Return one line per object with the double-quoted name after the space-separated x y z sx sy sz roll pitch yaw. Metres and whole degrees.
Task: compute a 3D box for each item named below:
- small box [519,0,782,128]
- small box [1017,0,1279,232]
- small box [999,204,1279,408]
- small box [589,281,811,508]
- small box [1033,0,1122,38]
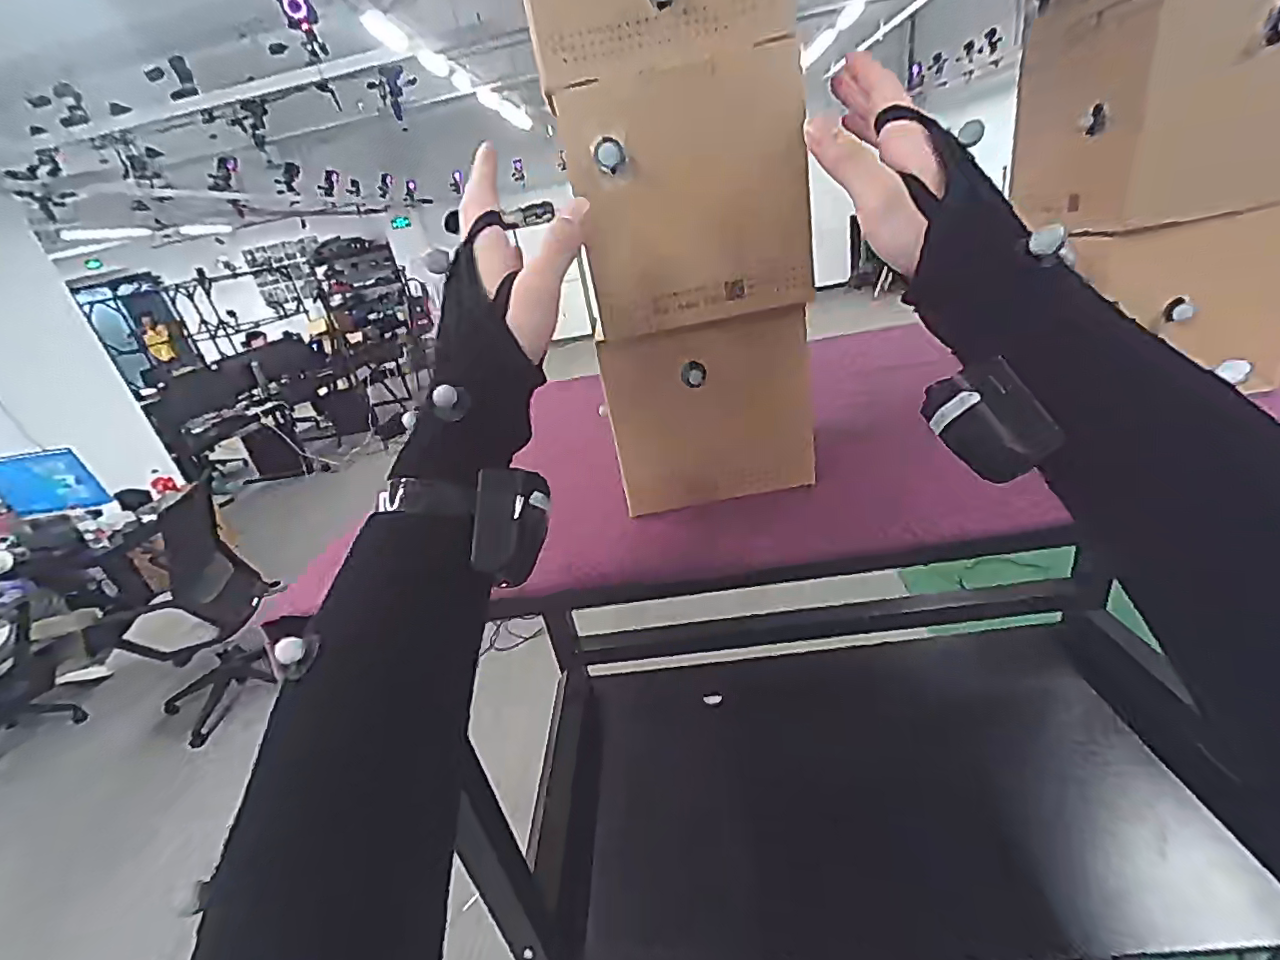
0.001 -0.380 0.400 0.179 0.176 0.168 -10 24 2 "small box"
0.463 -0.319 0.471 0.179 0.176 0.168 -9 25 6 "small box"
0.495 -0.177 0.546 0.168 0.176 0.179 -7 24 9 "small box"
0.056 -0.087 0.533 0.179 0.176 0.168 -11 25 2 "small box"
0.436 -0.470 0.413 0.179 0.176 0.168 -8 25 7 "small box"
